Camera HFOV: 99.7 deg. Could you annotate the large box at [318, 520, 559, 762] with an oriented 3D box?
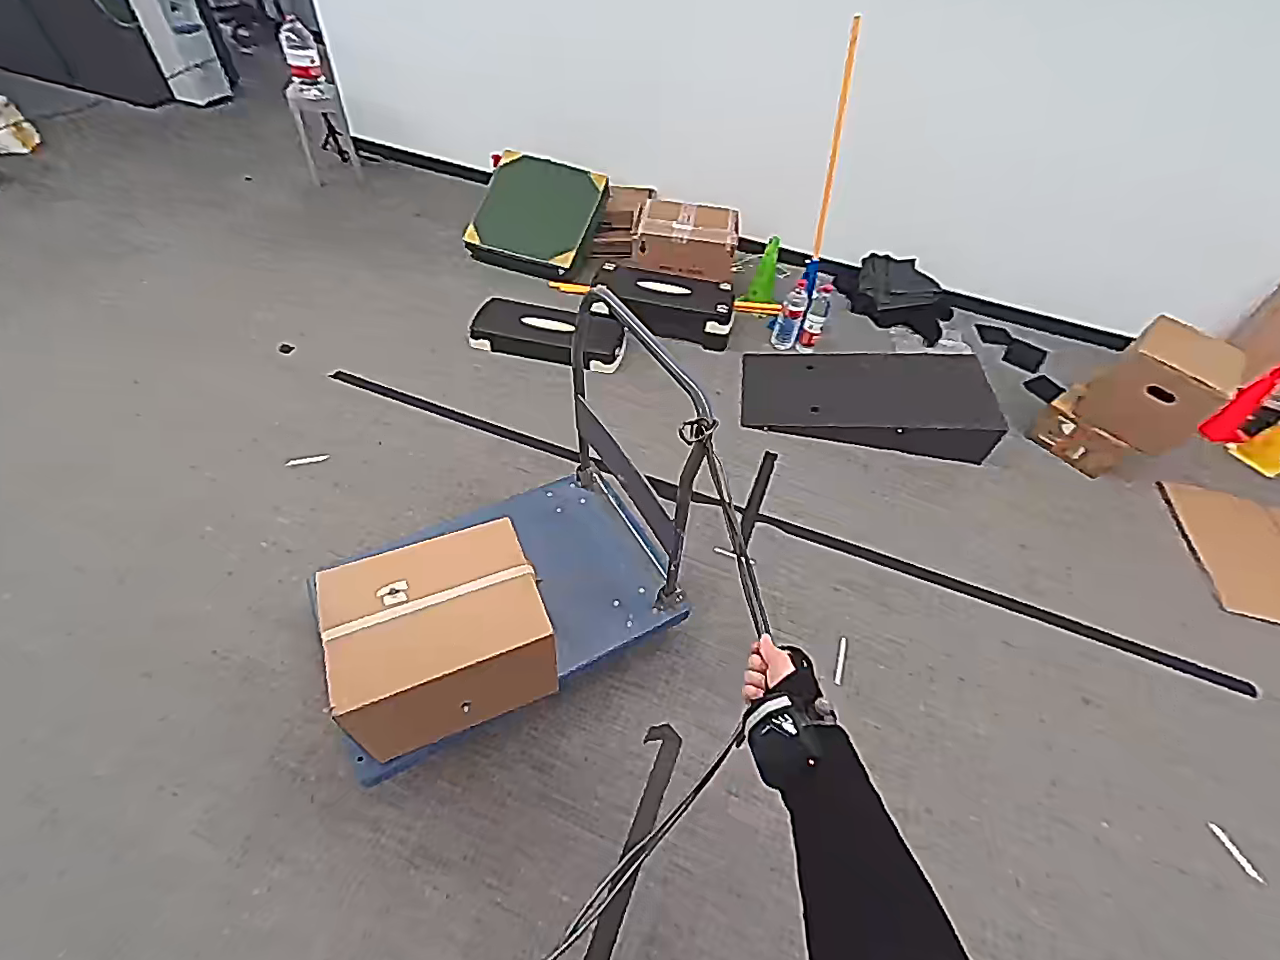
[{"bbox_3d":[-0.420,0.347,1.186,0.408,0.320,0.320,-17,52,-19],"label":"large box"}]
